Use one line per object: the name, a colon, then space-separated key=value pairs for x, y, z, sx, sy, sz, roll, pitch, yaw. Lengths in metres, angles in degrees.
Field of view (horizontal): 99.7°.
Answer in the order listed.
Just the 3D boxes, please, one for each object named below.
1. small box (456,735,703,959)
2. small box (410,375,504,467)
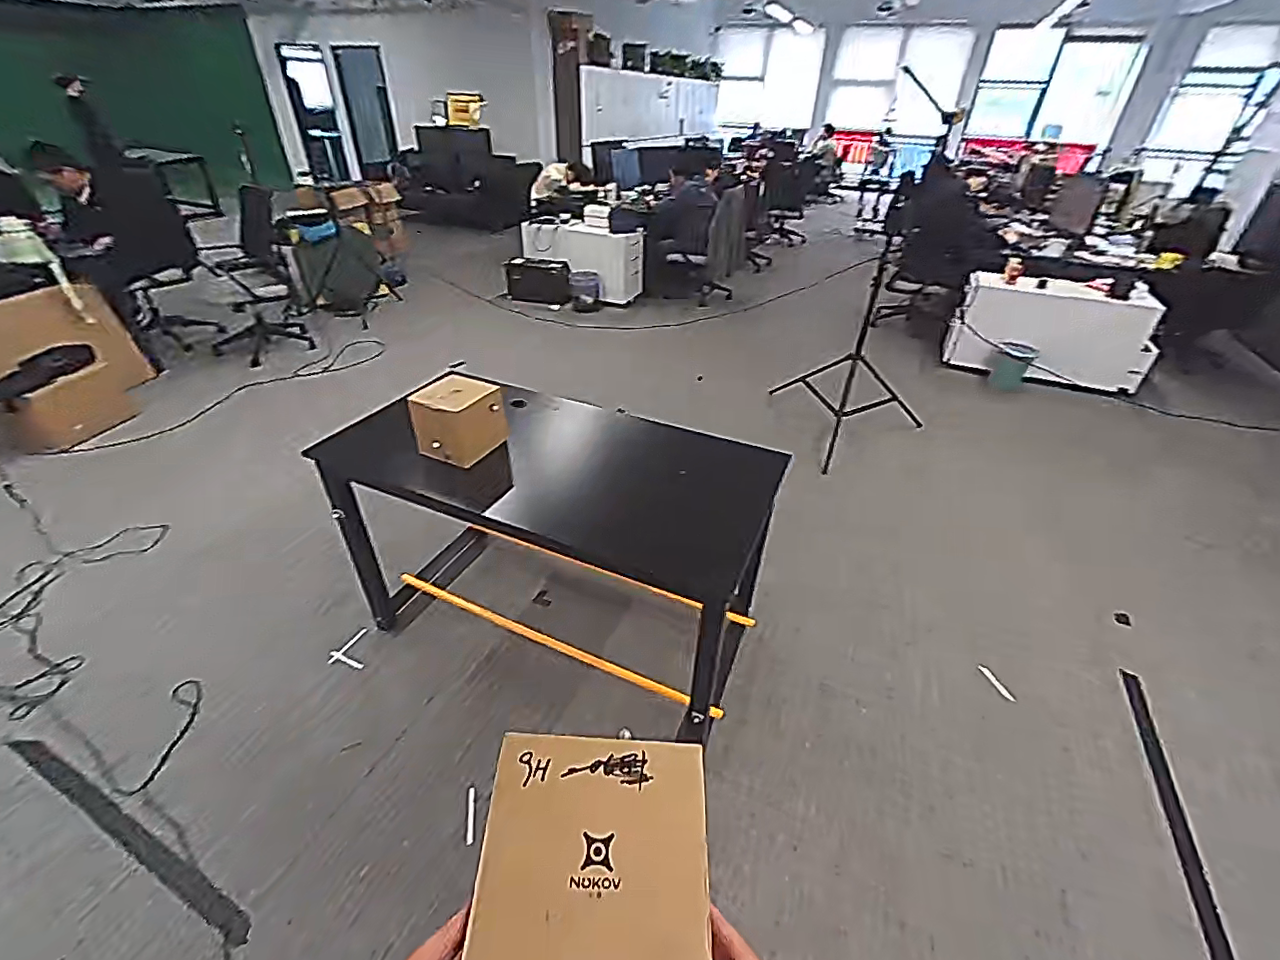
small box: x=-0.043 y=0.331 z=0.448 sx=0.168 sy=0.176 sz=0.179 roll=4 pitch=48 yaw=-3
small box: x=-0.484 y=-0.160 z=1.462 sx=0.168 sy=0.176 sz=0.179 roll=17 pitch=38 yaw=20
